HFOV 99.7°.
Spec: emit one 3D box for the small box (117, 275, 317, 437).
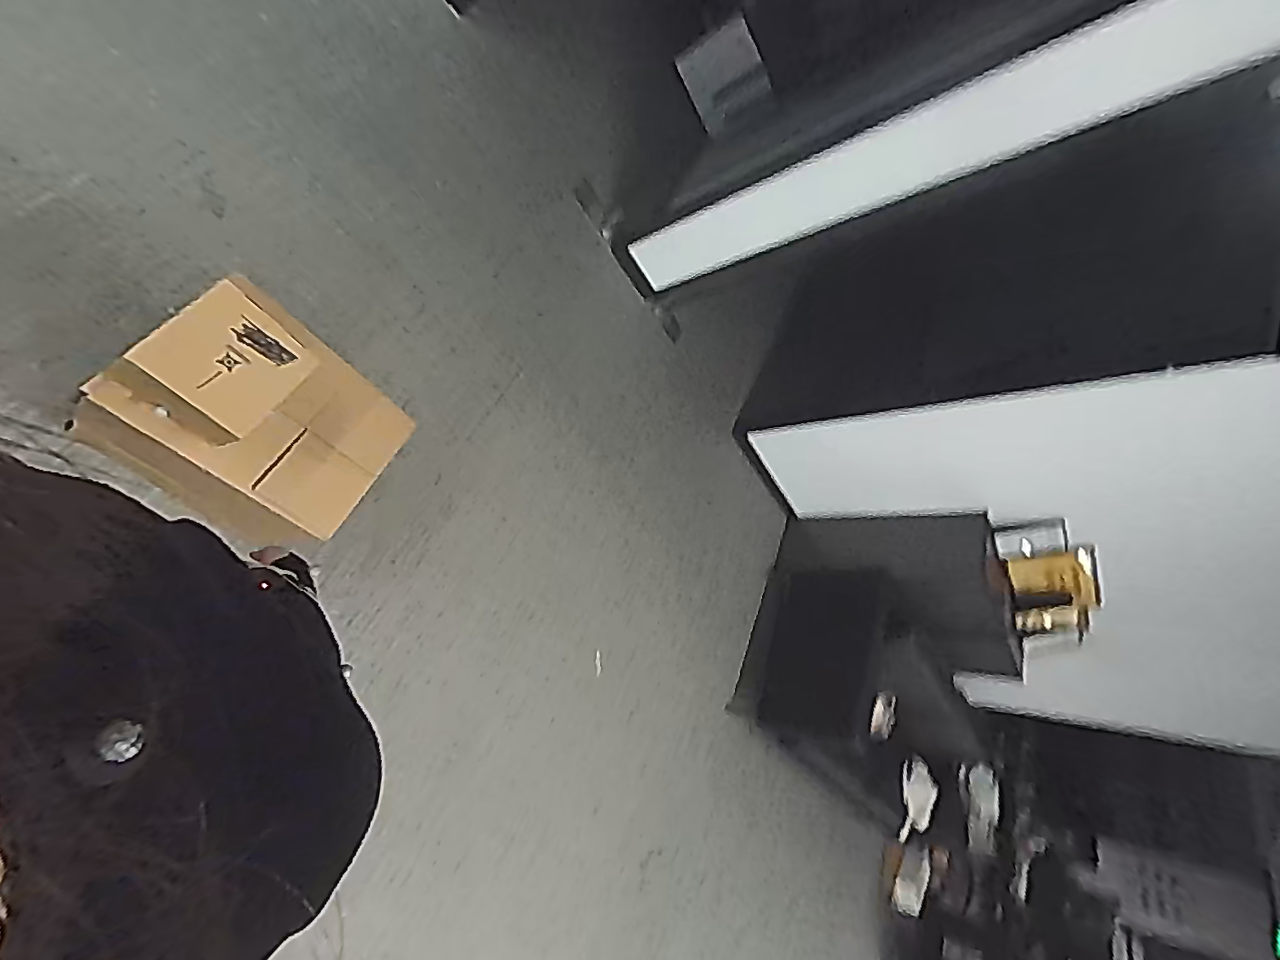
[{"bbox_3d":[-0.663,-0.185,0.847,0.168,0.176,0.179,52,54,-35],"label":"small box"}]
